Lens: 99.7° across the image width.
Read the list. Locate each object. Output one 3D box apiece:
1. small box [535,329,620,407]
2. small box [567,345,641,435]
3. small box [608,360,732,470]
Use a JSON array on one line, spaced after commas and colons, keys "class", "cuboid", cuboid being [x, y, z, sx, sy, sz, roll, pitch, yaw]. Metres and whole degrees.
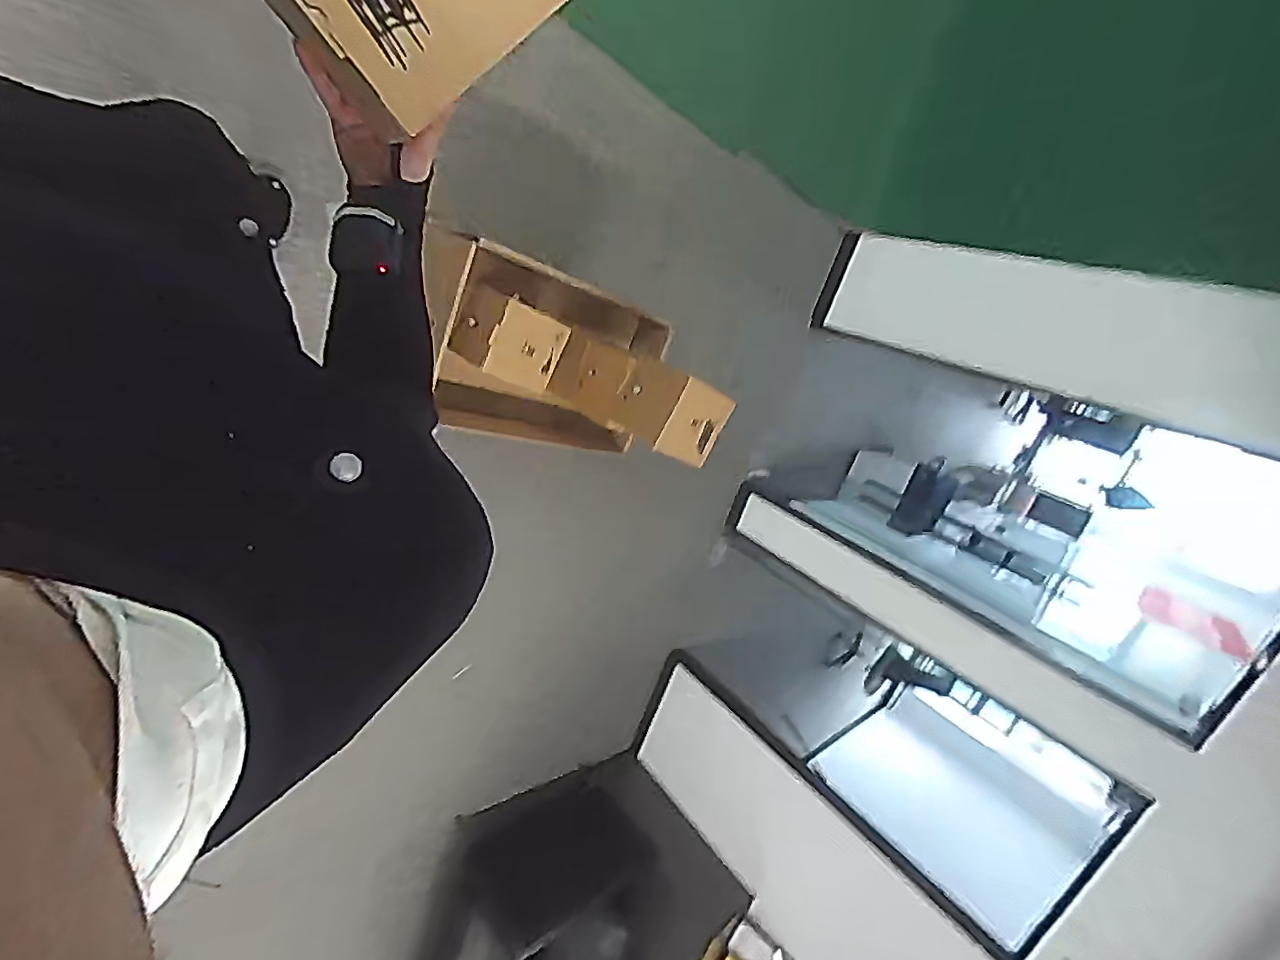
[{"class": "small box", "cuboid": [-0.142, -0.280, 1.412, 0.179, 0.176, 0.168, 7, 110, -45]}, {"class": "small box", "cuboid": [-0.043, -0.212, 1.304, 0.179, 0.176, 0.168, 6, 111, -45]}, {"class": "small box", "cuboid": [0.065, -0.146, 1.198, 0.179, 0.176, 0.168, 20, 101, -47]}]
